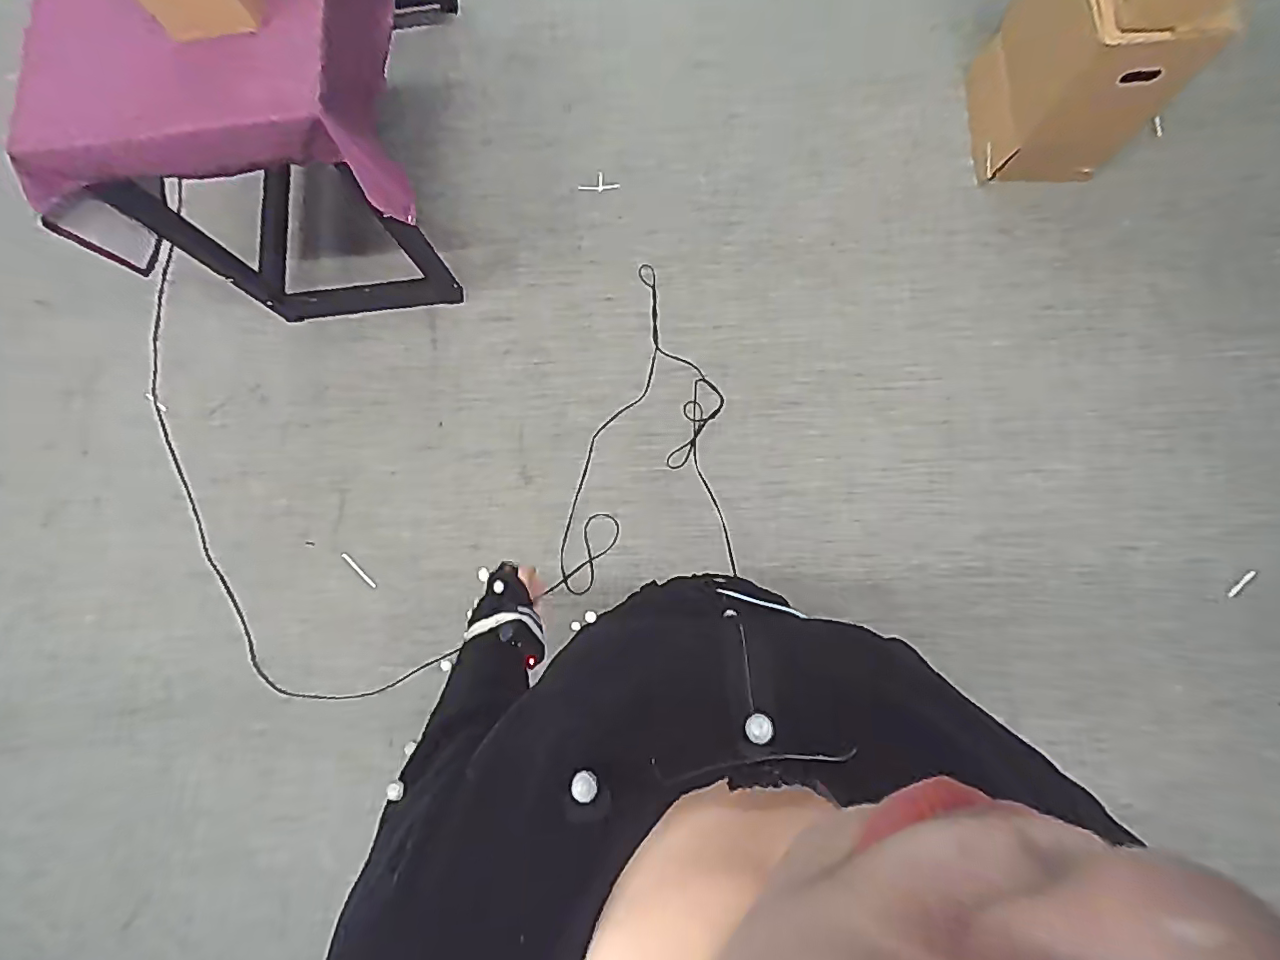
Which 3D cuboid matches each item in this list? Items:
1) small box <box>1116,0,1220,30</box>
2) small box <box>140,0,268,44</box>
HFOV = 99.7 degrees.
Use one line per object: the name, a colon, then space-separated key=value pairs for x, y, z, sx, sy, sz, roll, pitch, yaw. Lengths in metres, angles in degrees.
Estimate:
small box: x=1.162 y=-1.107 z=1.153 sx=0.179 sy=0.176 sz=0.168 roll=2 pitch=78 yaw=3
small box: x=-0.810 y=-0.928 z=0.969 sx=0.179 sy=0.176 sz=0.168 roll=-4 pitch=79 yaw=3
